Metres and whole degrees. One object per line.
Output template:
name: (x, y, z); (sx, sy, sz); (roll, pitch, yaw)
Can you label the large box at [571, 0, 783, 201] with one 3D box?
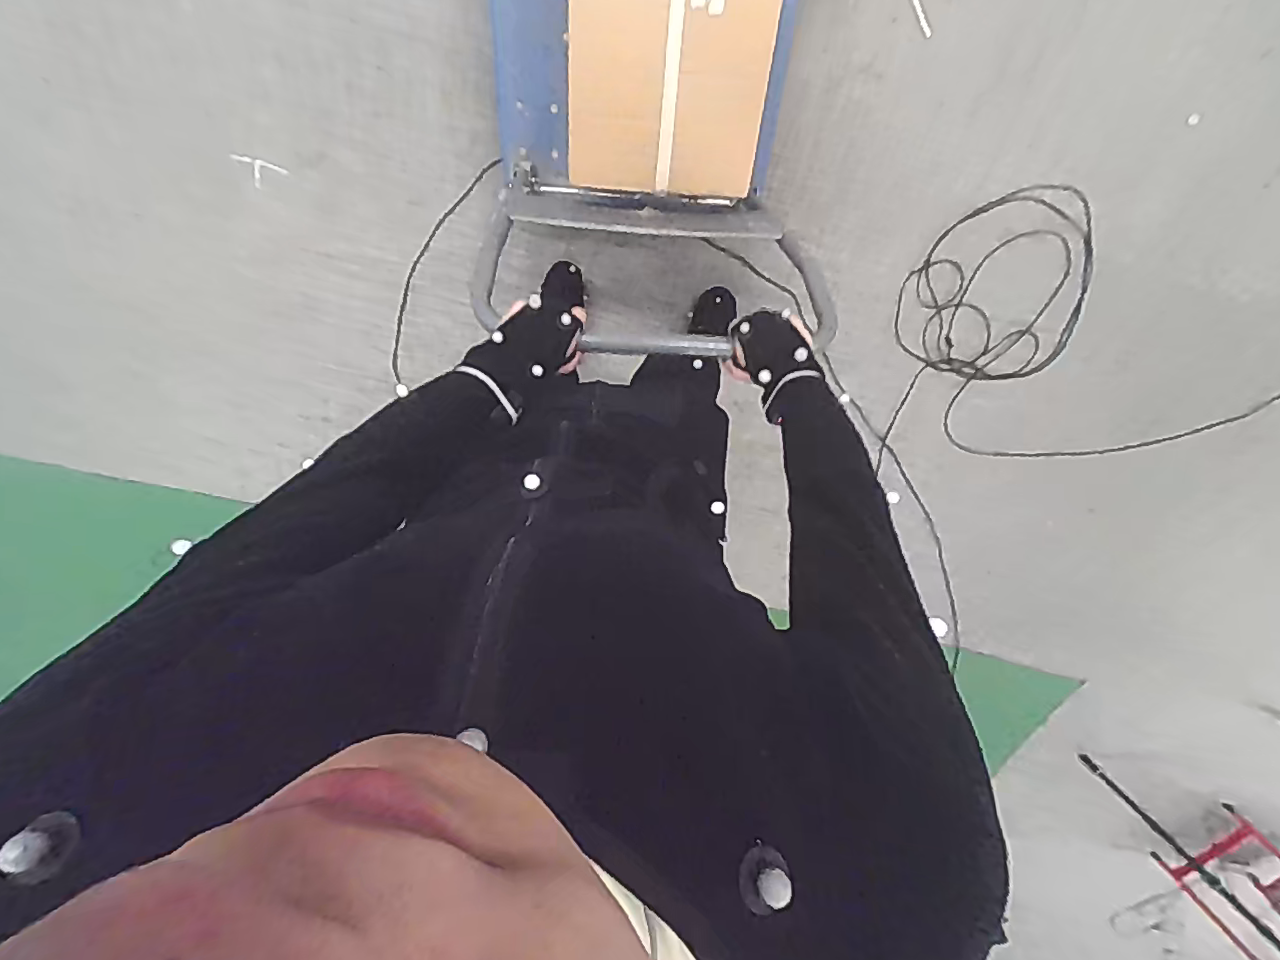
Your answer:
large box: (0.045, -0.739, 0.943); (0.320, 0.320, 0.408); (1, 127, -6)
